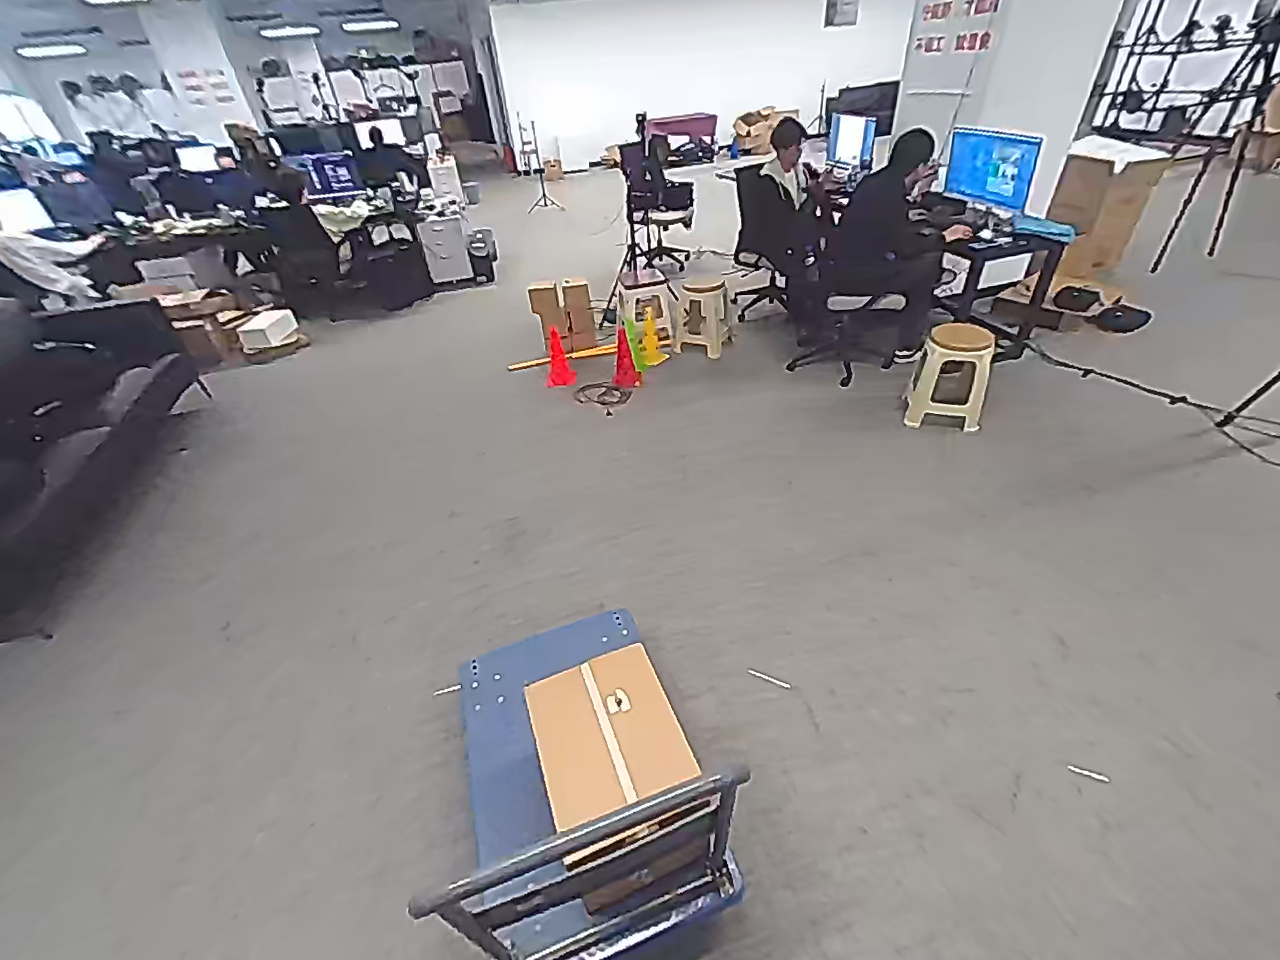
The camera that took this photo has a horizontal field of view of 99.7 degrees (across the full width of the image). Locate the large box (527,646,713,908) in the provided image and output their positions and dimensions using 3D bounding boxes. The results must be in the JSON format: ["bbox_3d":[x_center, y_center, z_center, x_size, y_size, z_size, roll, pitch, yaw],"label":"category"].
[{"bbox_3d":[-0.050,0.693,1.298,0.320,0.320,0.408,-16,39,-14],"label":"large box"}]
